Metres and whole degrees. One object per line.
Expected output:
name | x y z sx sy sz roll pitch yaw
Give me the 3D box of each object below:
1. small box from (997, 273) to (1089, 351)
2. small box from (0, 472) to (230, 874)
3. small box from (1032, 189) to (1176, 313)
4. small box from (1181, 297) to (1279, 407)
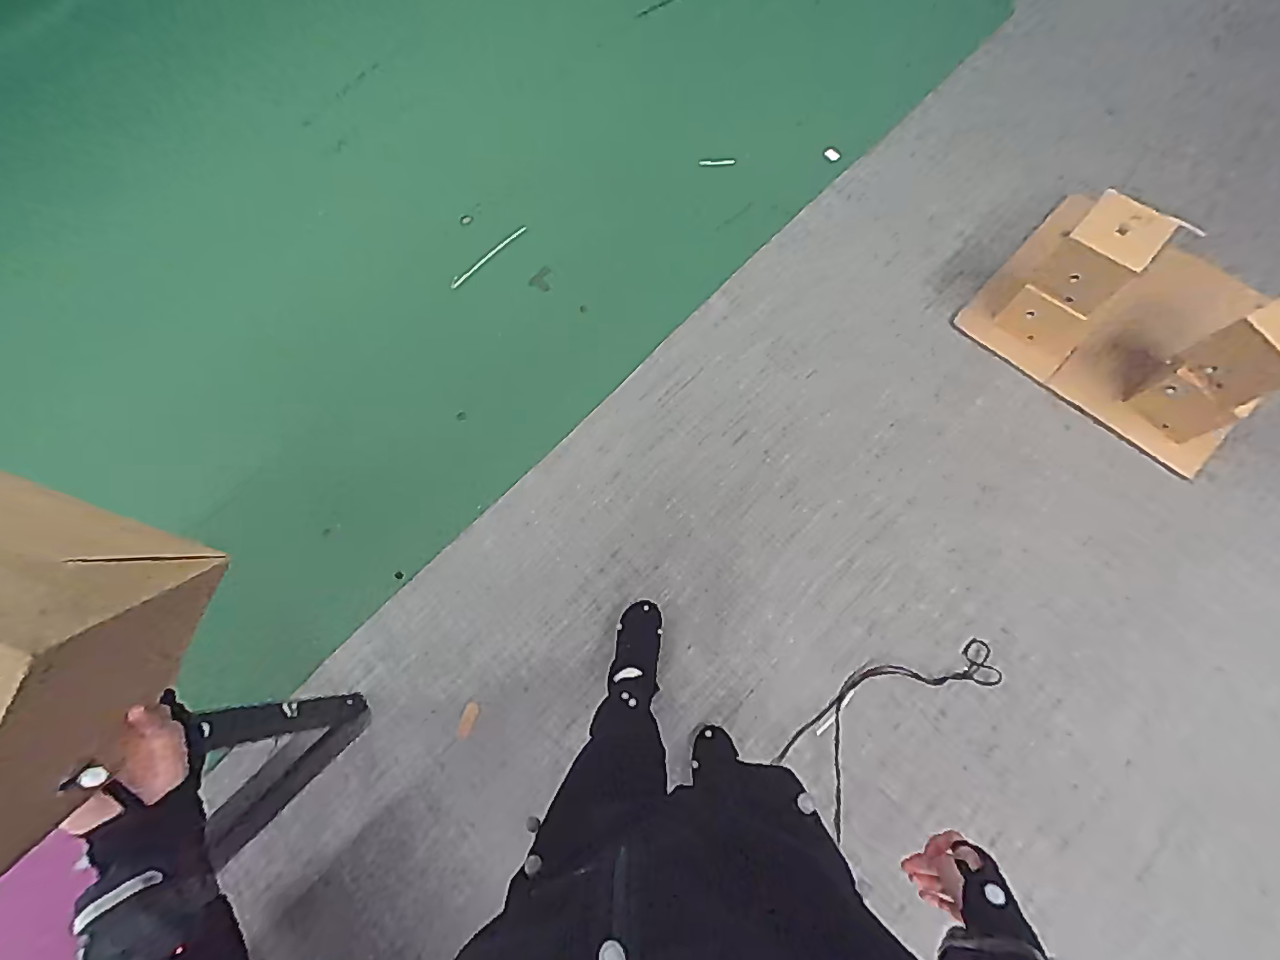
small box | 1.098 -0.479 1.440 0.168 0.176 0.179 40 79 16
small box | -0.371 0.093 0.286 0.168 0.179 0.176 27 88 -16
small box | 1.086 -0.536 1.285 0.168 0.176 0.179 41 79 15
small box | 1.367 -0.288 1.176 0.179 0.176 0.168 -25 72 -3
